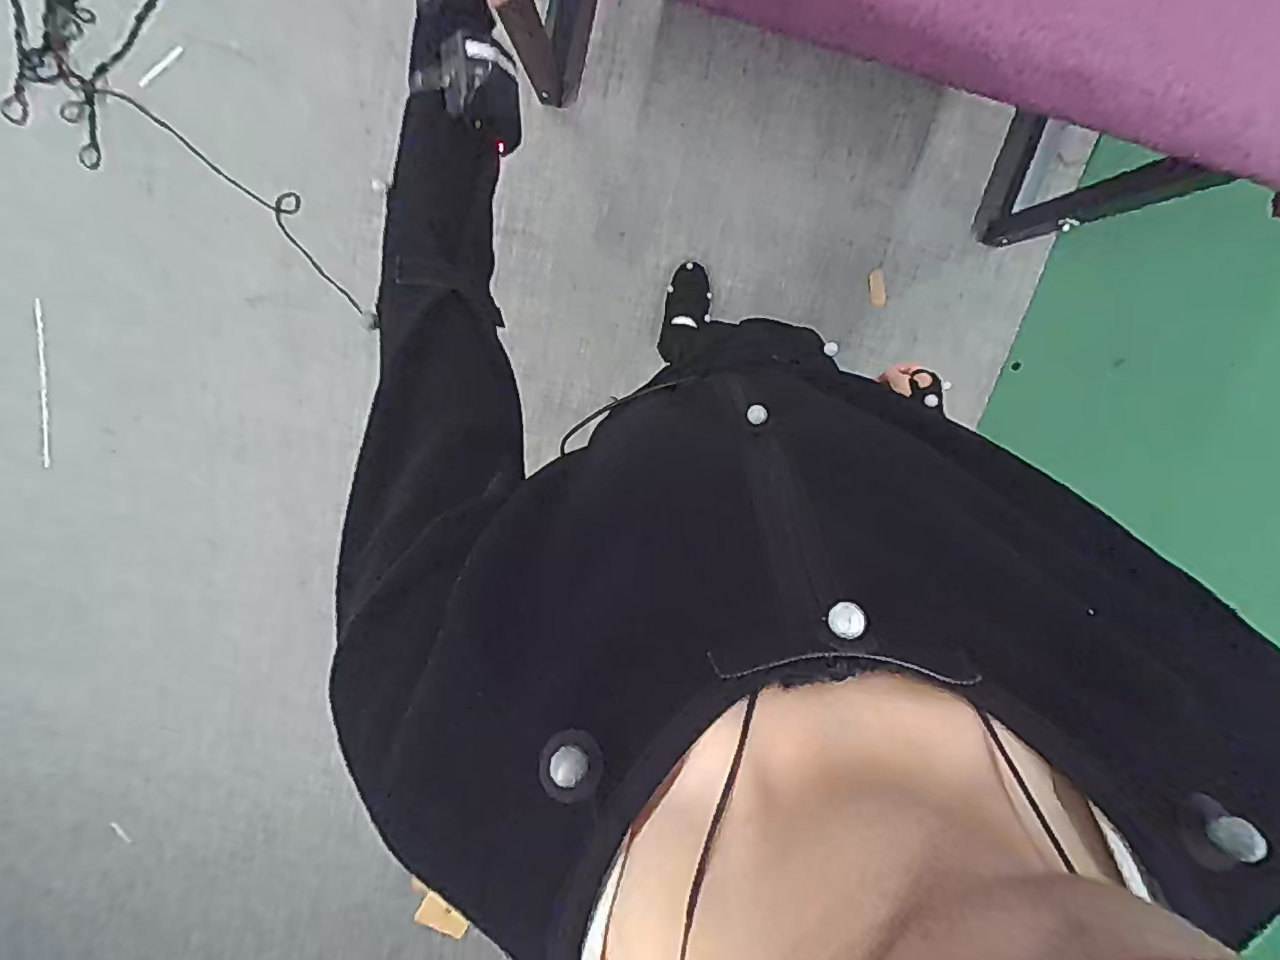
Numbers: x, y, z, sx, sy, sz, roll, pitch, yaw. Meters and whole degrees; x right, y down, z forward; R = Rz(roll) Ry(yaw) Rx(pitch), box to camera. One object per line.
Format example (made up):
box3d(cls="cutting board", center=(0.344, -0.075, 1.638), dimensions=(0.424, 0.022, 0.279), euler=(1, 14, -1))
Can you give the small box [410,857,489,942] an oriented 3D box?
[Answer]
box3d(cls="small box", center=(-0.613, 1.339, 1.765), dimensions=(0.168, 0.176, 0.179), euler=(28, 104, -5))
